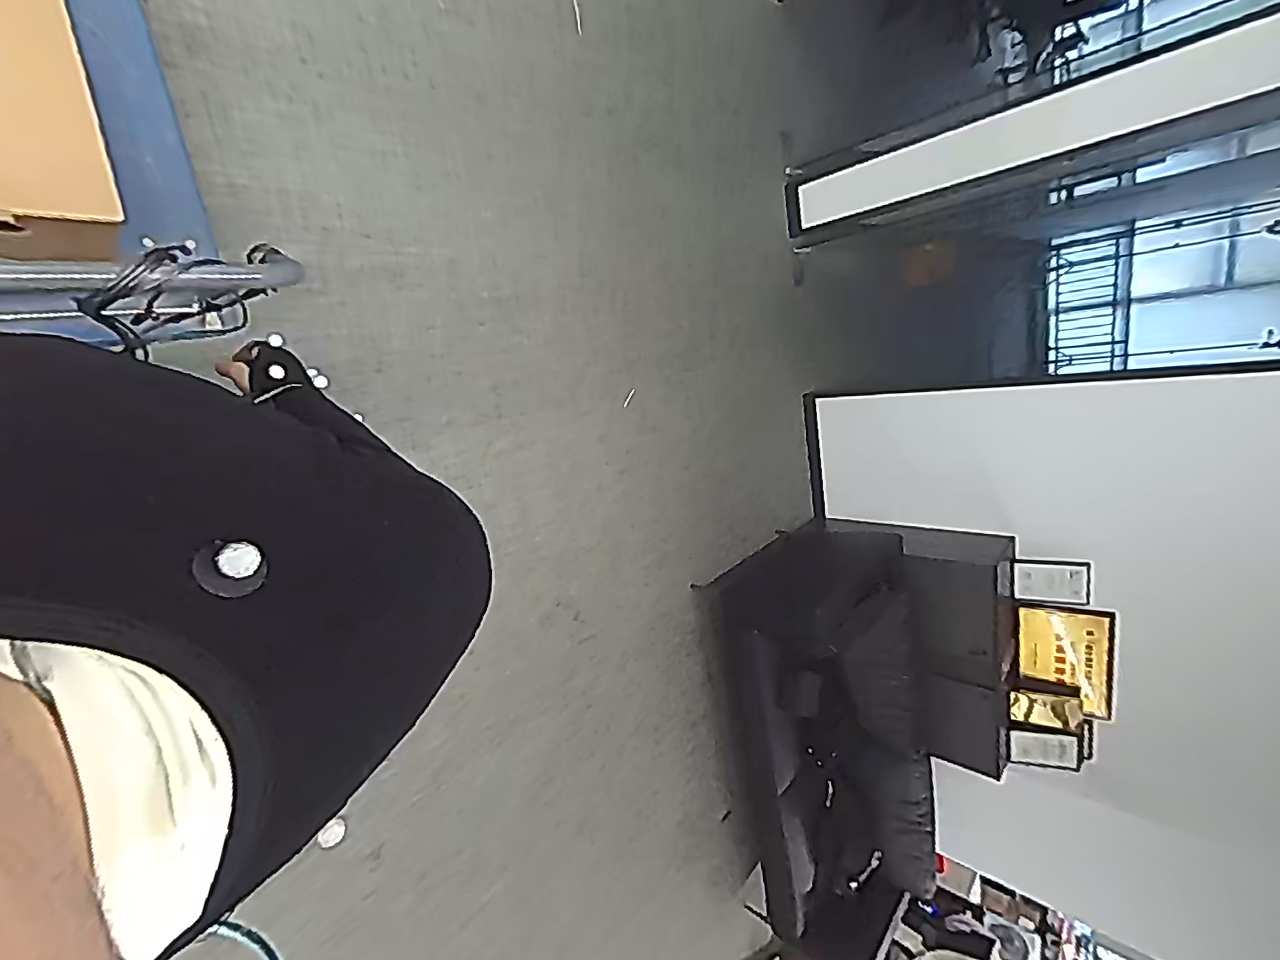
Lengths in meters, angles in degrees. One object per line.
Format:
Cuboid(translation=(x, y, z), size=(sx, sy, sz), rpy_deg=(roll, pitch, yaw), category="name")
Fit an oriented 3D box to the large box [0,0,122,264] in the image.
Cuboid(translation=(-1.058, -0.573, 0.821), size=(0.320, 0.320, 0.408), rpy_deg=(-18, 105, -44), category="large box")
